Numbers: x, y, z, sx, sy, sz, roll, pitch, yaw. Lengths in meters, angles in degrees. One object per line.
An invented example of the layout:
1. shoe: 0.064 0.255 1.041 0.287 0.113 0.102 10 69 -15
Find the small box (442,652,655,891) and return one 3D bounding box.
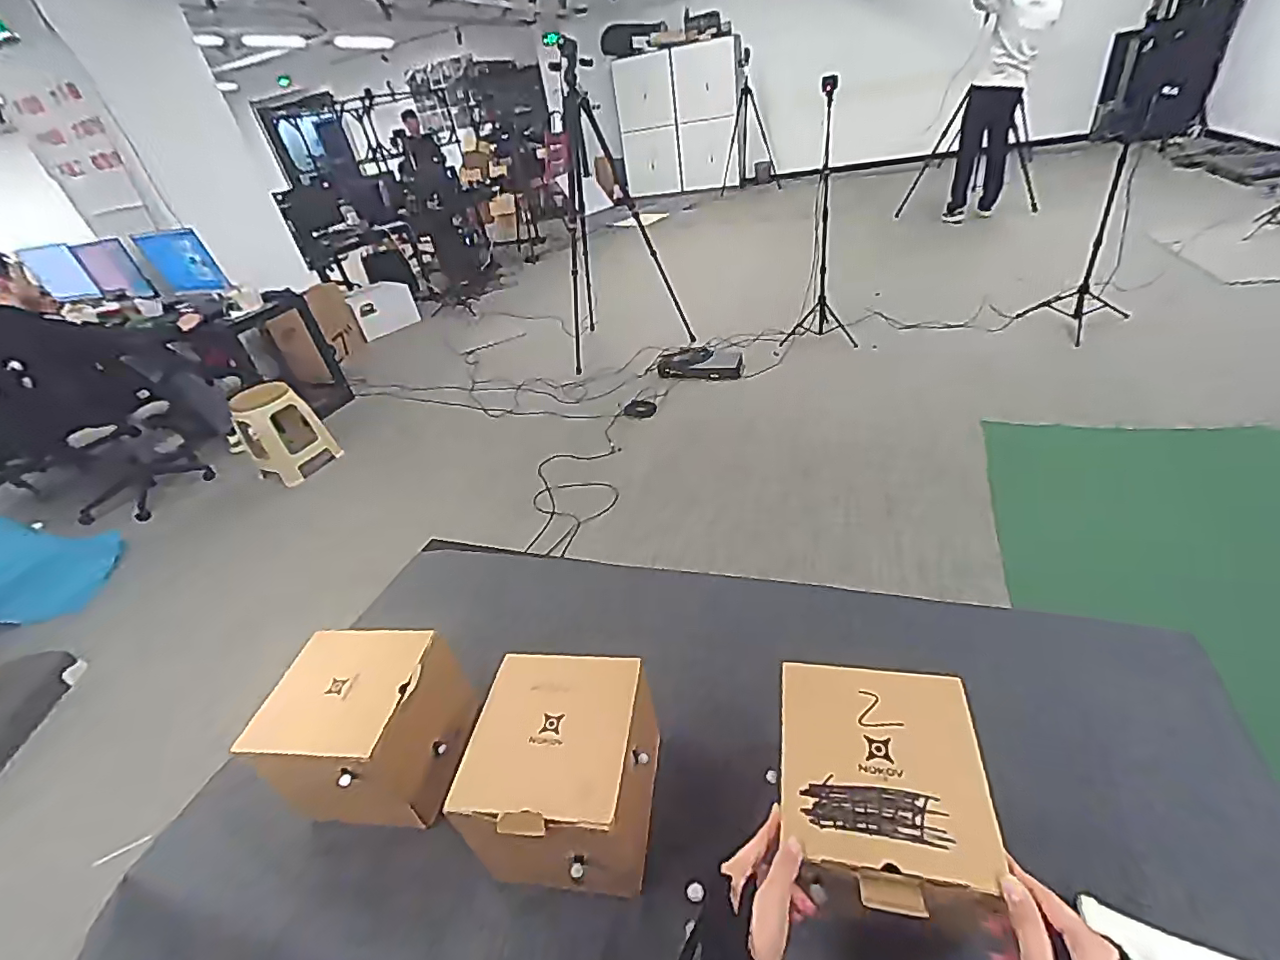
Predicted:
1. small box: -0.081 0.315 0.594 0.168 0.176 0.179 -1 35 11

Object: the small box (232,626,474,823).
1. small box: -0.339 0.304 0.679 0.179 0.176 0.168 -3 35 10
